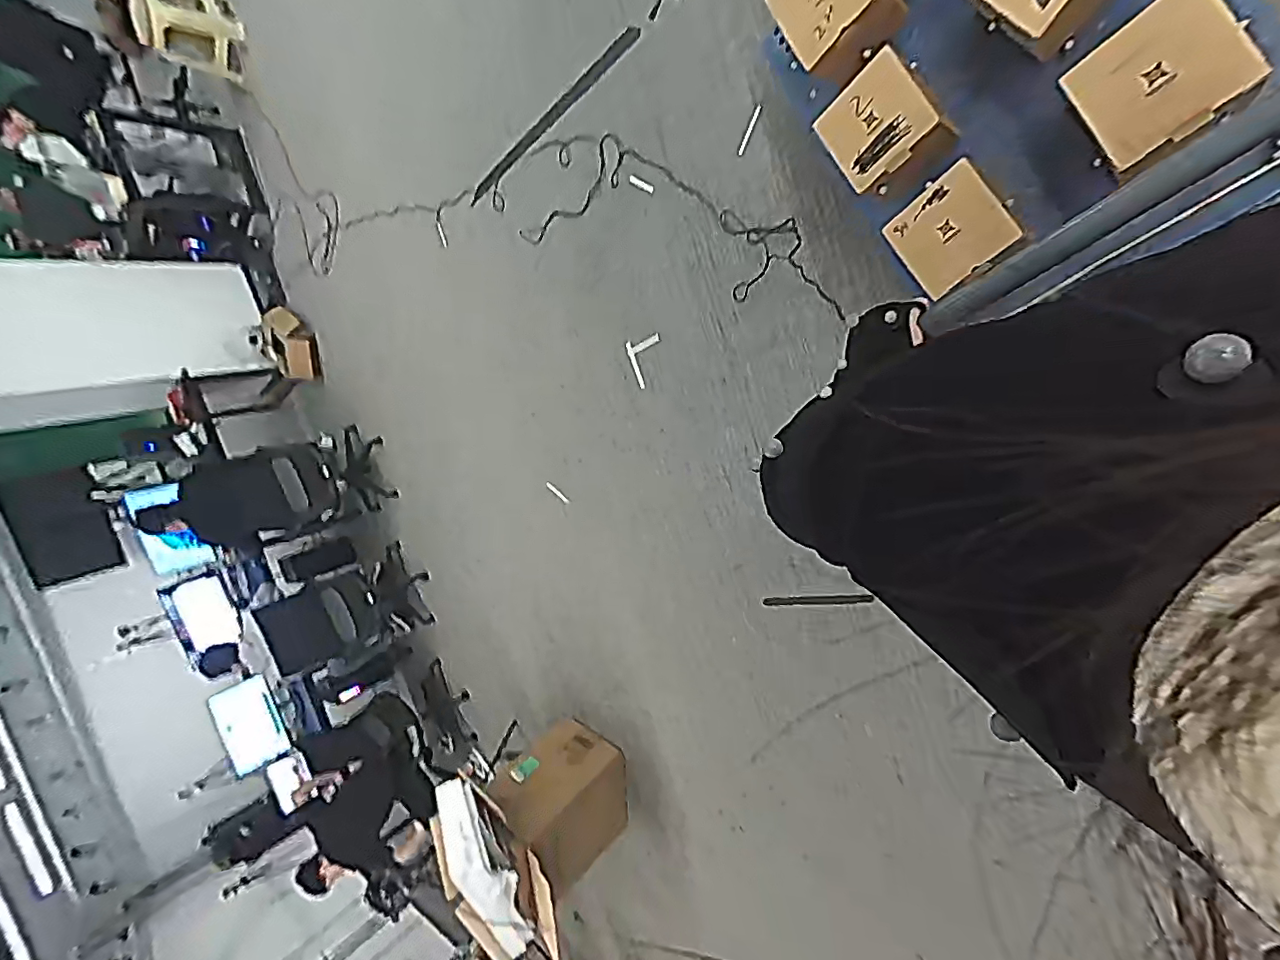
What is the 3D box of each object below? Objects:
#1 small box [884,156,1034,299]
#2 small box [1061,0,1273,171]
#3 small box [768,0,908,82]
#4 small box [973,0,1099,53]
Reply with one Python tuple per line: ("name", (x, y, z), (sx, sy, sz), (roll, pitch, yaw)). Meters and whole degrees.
("small box", (0.603, -0.468, 1.017), (0.168, 0.176, 0.179), (-39, 80, 43))
("small box", (0.778, -0.595, 0.811), (0.168, 0.176, 0.179), (-34, 82, 44))
("small box", (0.380, -0.914, 1.037), (0.168, 0.176, 0.179), (-32, 85, 45))
("small box", (0.642, -0.812, 0.844), (0.179, 0.176, 0.168), (52, 133, 14))
